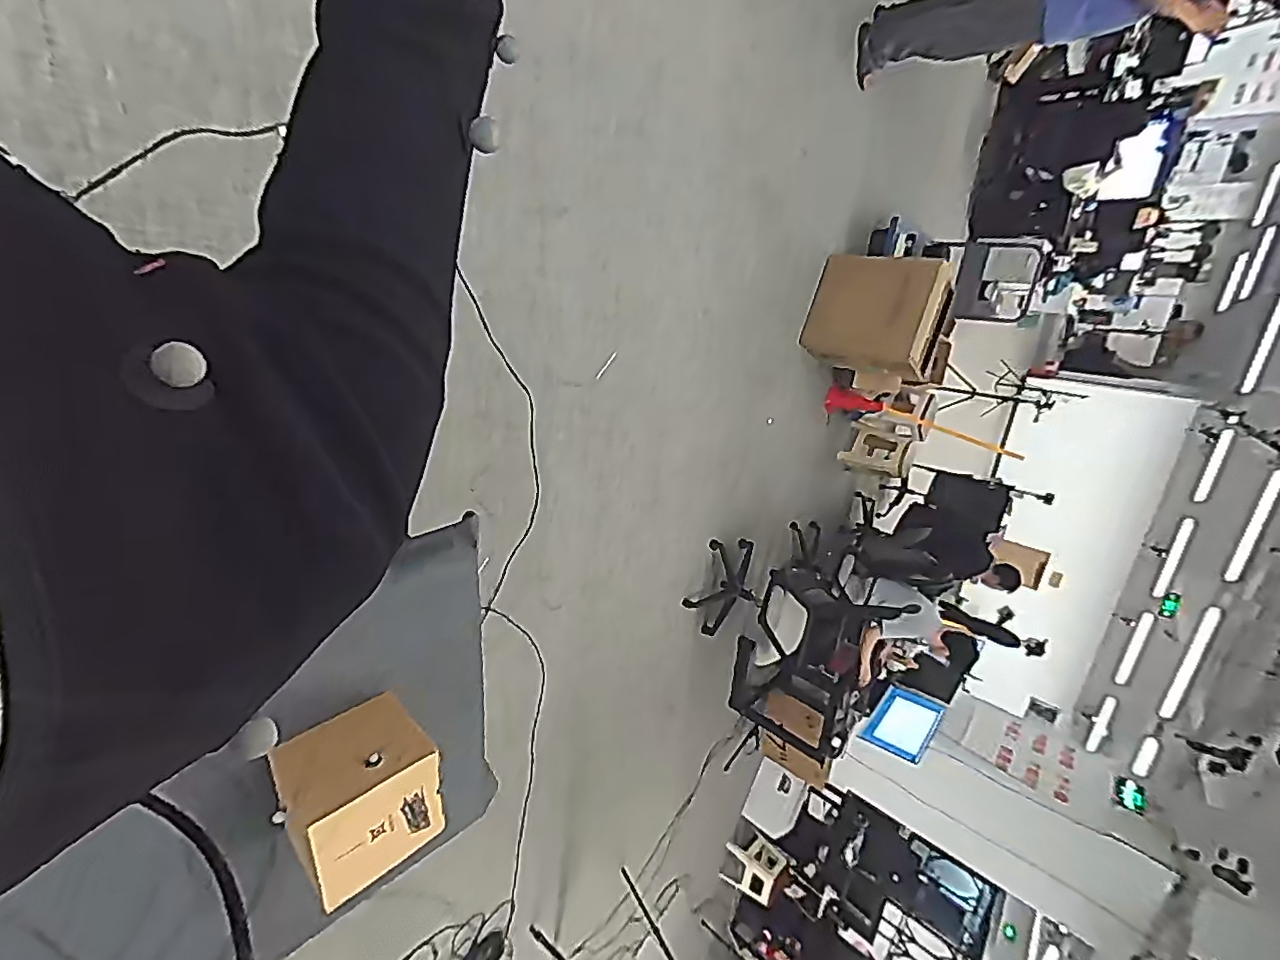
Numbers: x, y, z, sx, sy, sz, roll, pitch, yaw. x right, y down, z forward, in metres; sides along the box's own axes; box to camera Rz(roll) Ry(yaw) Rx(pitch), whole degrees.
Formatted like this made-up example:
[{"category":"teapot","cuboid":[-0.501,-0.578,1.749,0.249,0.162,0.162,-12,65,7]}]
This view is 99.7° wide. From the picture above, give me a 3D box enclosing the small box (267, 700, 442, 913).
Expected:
[{"category":"small box","cuboid":[-0.423,0.470,0.812,0.179,0.176,0.168,-18,119,-45]}]
